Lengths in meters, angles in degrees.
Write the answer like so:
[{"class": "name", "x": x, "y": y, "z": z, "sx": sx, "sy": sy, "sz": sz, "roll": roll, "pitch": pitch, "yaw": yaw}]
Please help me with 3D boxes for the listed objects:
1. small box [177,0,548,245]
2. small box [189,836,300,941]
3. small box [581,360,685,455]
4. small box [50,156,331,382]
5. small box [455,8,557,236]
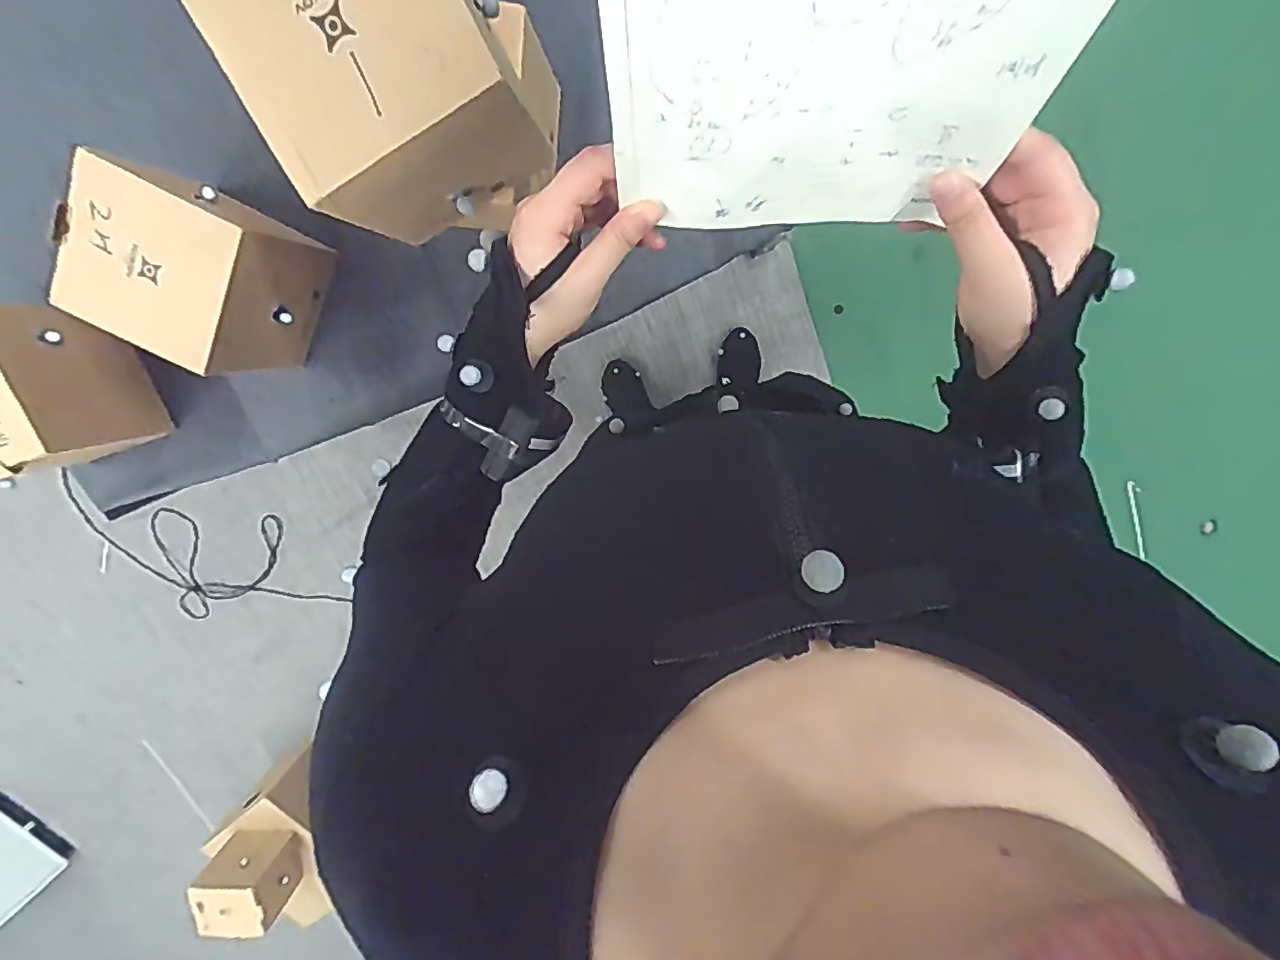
[{"class": "small box", "x": -0.196, "y": -0.313, "z": 0.424, "sx": 0.168, "sy": 0.176, "sz": 0.179, "roll": -26, "pitch": 102, "yaw": 10}, {"class": "small box", "x": -1.058, "y": 1.103, "z": 1.467, "sx": 0.179, "sy": 0.176, "sz": 0.168, "roll": -1, "pitch": 105, "yaw": 1}, {"class": "small box", "x": -0.013, "y": -0.179, "z": 1.356, "sx": 0.176, "sy": 0.168, "sz": 0.179, "roll": 27, "pitch": 80, "yaw": -33}, {"class": "small box", "x": -0.505, "y": -0.234, "z": 0.633, "sx": 0.179, "sy": 0.176, "sz": 0.168, "roll": 26, "pitch": 104, "yaw": -4}, {"class": "small box", "x": -0.193, "y": -0.369, "z": 0.579, "sx": 0.179, "sy": 0.176, "sz": 0.168, "roll": 8, "pitch": 105, "yaw": 2}]
